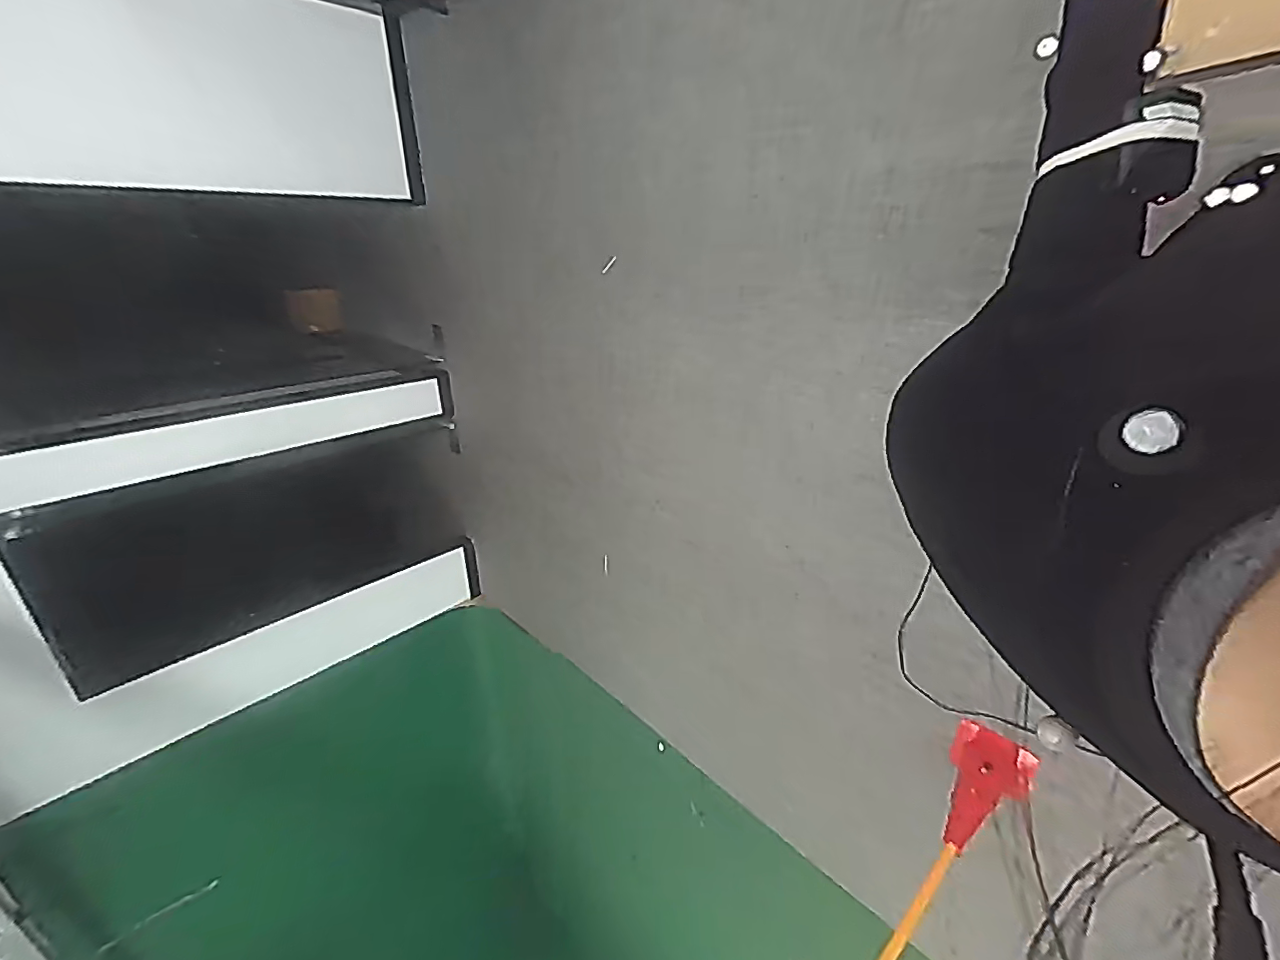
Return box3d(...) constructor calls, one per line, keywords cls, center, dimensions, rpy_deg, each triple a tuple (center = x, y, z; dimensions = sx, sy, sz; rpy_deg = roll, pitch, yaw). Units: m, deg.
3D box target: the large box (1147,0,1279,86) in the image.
box3d(cls="large box", center=(0.593, -0.466, 0.307), dimensions=(0.408, 0.320, 0.320), rpy_deg=(11, 124, 39))
